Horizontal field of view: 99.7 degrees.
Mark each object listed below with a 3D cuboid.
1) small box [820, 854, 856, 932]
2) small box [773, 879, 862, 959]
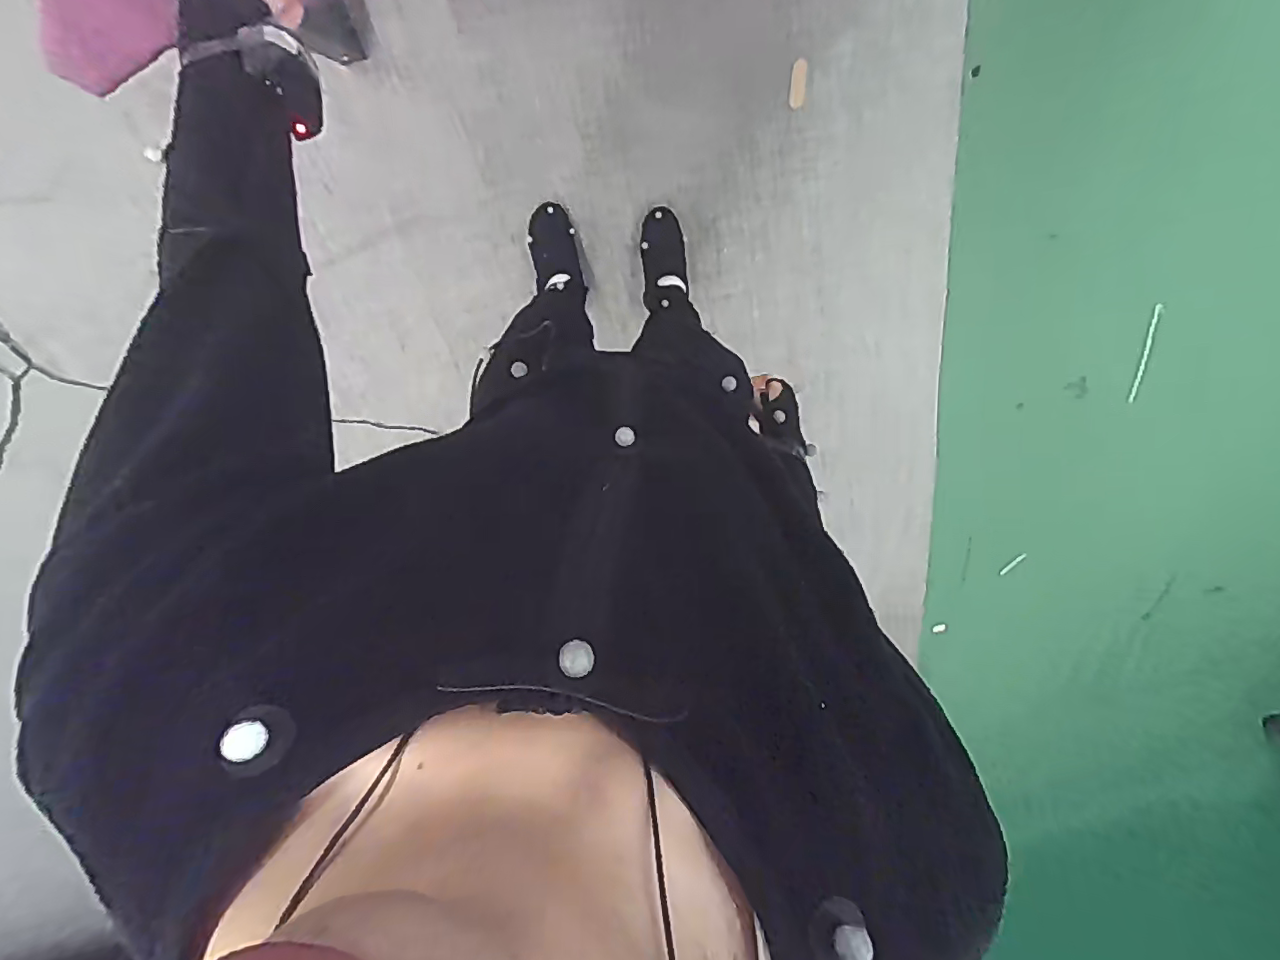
[{"bbox_3d":[0.572,1.363,1.754,0.179,0.176,0.168,-21,119,2],"label":"small box"},{"bbox_3d":[0.484,1.232,1.480,0.168,0.176,0.179,-25,119,8],"label":"small box"}]
